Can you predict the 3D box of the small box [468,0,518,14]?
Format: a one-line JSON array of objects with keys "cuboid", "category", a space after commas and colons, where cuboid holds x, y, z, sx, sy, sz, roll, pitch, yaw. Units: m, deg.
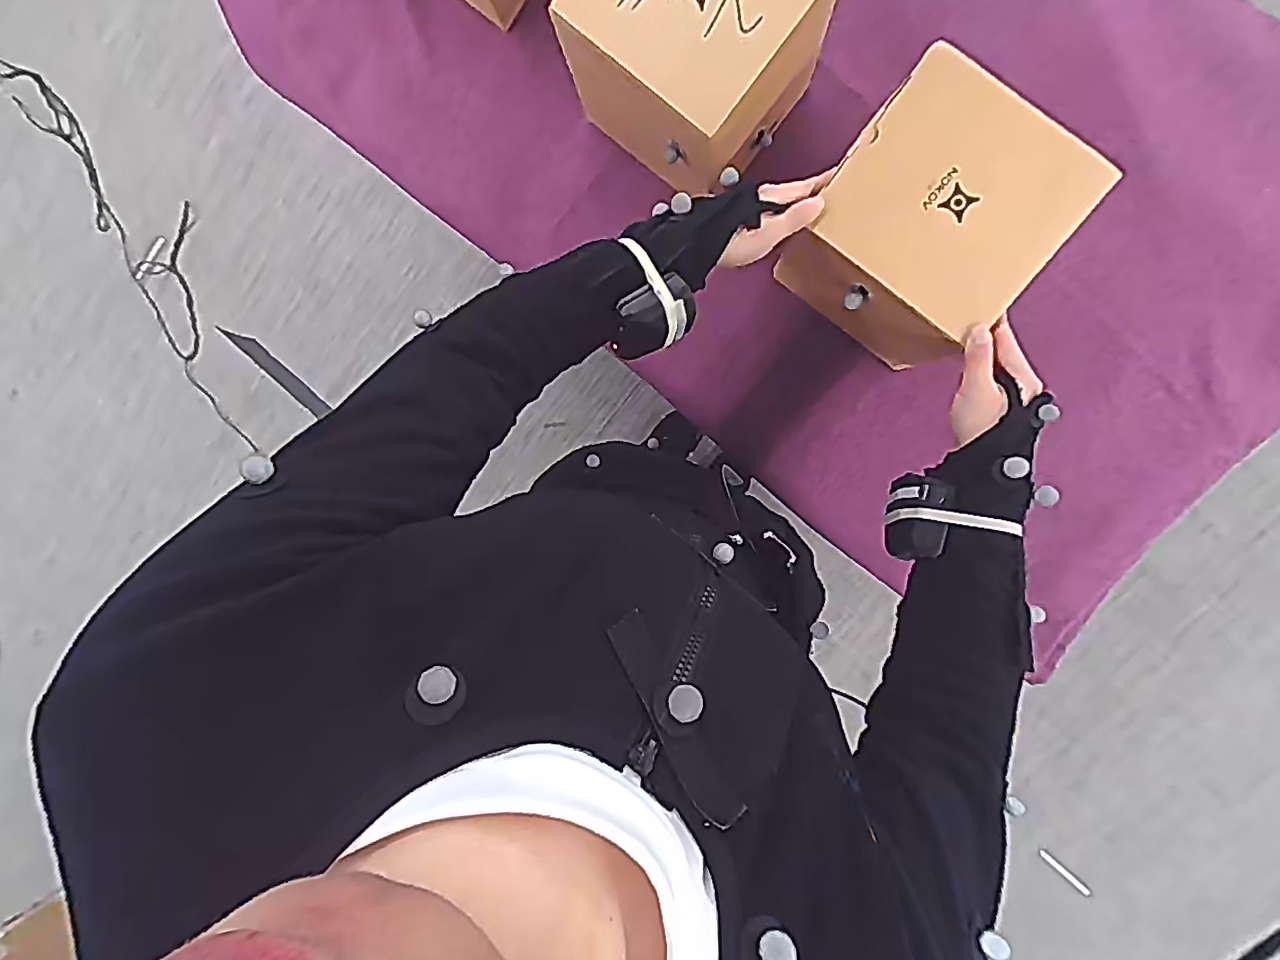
[{"cuboid": [-0.172, -0.606, 0.512, 0.179, 0.176, 0.168, 38, 99, 0], "category": "small box"}]
